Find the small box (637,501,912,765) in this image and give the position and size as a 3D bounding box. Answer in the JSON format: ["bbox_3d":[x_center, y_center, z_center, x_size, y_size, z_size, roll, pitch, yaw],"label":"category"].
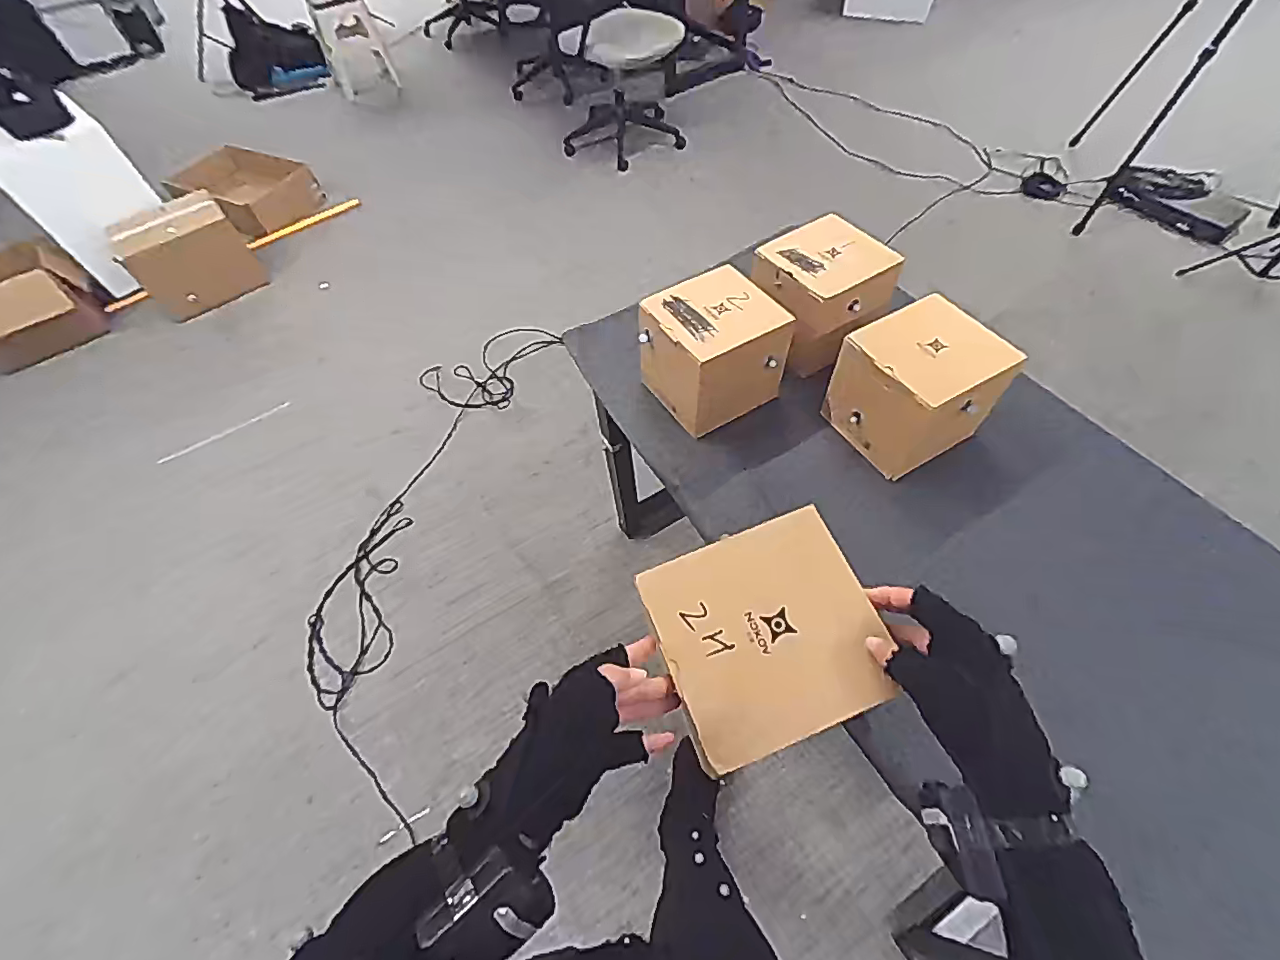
[{"bbox_3d":[0.109,0.149,0.515,0.179,0.176,0.168,-21,64,-6],"label":"small box"}]

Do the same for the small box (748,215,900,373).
[{"bbox_3d":[0.304,-0.317,0.938,0.179,0.176,0.168,-30,60,-15],"label":"small box"}]

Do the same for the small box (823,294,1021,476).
[{"bbox_3d":[0.406,-0.139,0.815,0.179,0.176,0.168,-28,59,-13],"label":"small box"}]
